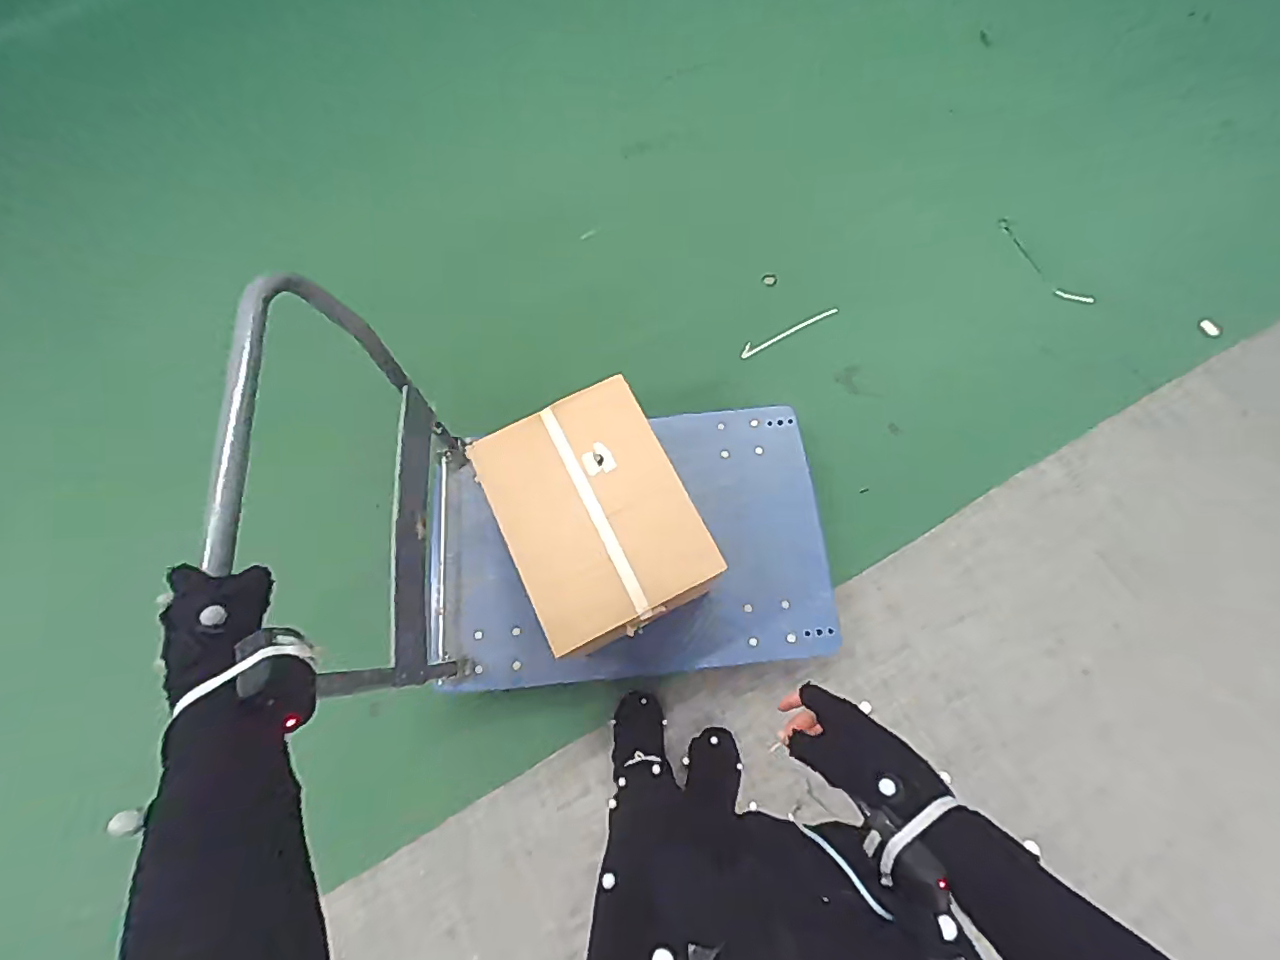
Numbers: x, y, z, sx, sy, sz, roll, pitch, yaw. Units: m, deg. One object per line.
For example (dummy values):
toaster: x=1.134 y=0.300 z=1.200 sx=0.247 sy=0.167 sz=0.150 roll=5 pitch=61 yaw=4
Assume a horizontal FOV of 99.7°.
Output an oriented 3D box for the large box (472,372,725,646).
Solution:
large box: x=-0.071 y=0.076 z=1.071 sx=0.320 sy=0.320 sz=0.408 roll=-25 pitch=73 yaw=-6
